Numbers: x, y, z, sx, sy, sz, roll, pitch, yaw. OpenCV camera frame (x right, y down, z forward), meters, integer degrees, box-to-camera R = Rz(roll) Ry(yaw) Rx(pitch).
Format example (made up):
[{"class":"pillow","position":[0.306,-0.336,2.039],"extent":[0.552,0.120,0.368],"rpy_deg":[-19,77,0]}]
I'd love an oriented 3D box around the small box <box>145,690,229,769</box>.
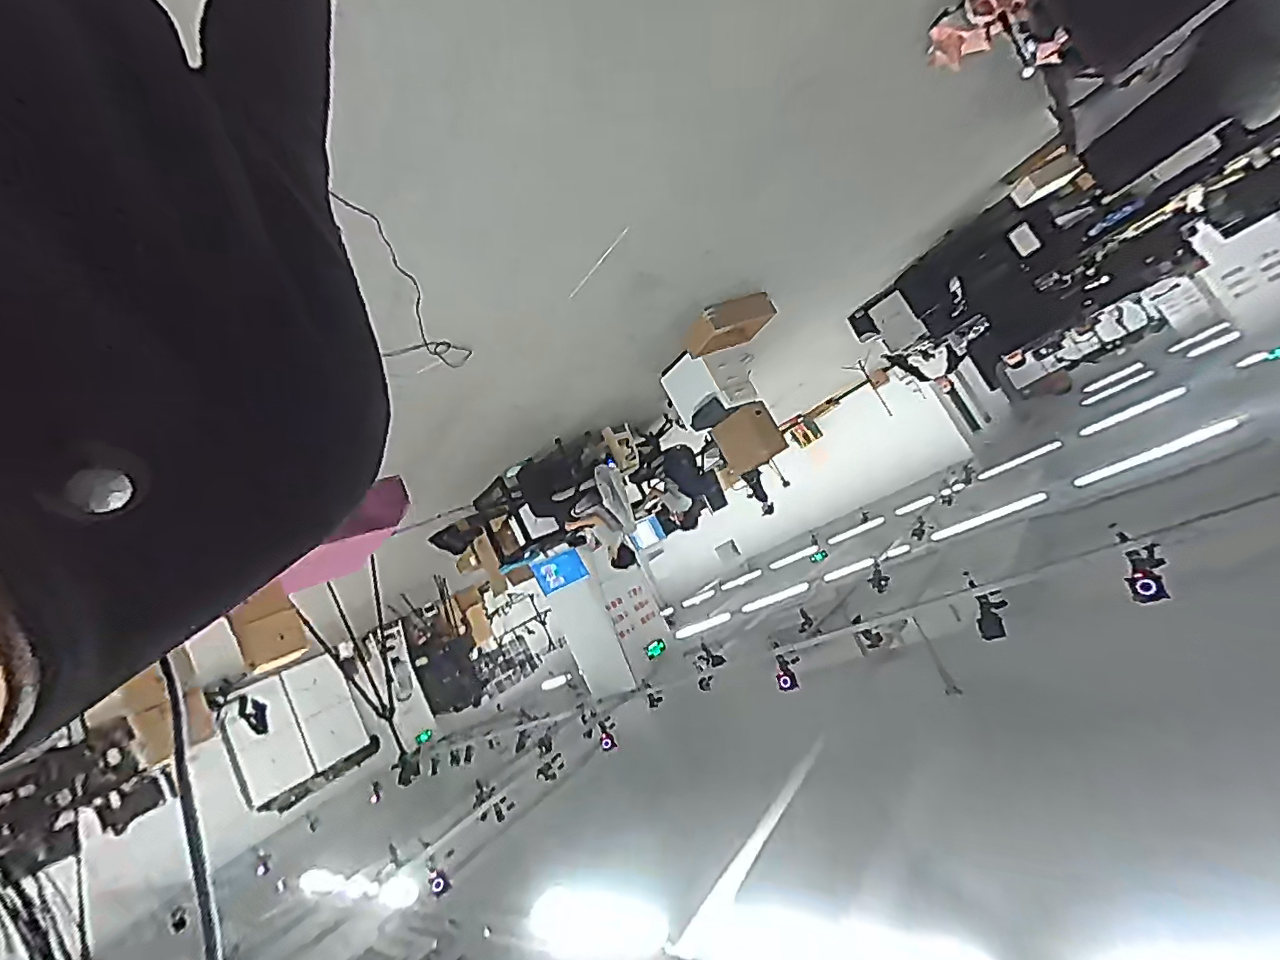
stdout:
[{"class":"small box","position":[-1.508,0.824,1.795],"extent":[0.179,0.176,0.168],"rpy_deg":[-35,171,38]}]

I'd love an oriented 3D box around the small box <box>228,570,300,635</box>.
[{"class":"small box","position":[-1.465,0.473,2.100],"extent":[0.168,0.176,0.179],"rpy_deg":[-34,170,39]}]

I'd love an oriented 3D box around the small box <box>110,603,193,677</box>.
[{"class":"small box","position":[-1.666,0.539,1.840],"extent":[0.179,0.176,0.168],"rpy_deg":[-34,170,37]}]

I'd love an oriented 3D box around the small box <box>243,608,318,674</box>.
[{"class":"small box","position":[-1.384,0.615,2.079],"extent":[0.168,0.176,0.179],"rpy_deg":[-34,170,38]}]
